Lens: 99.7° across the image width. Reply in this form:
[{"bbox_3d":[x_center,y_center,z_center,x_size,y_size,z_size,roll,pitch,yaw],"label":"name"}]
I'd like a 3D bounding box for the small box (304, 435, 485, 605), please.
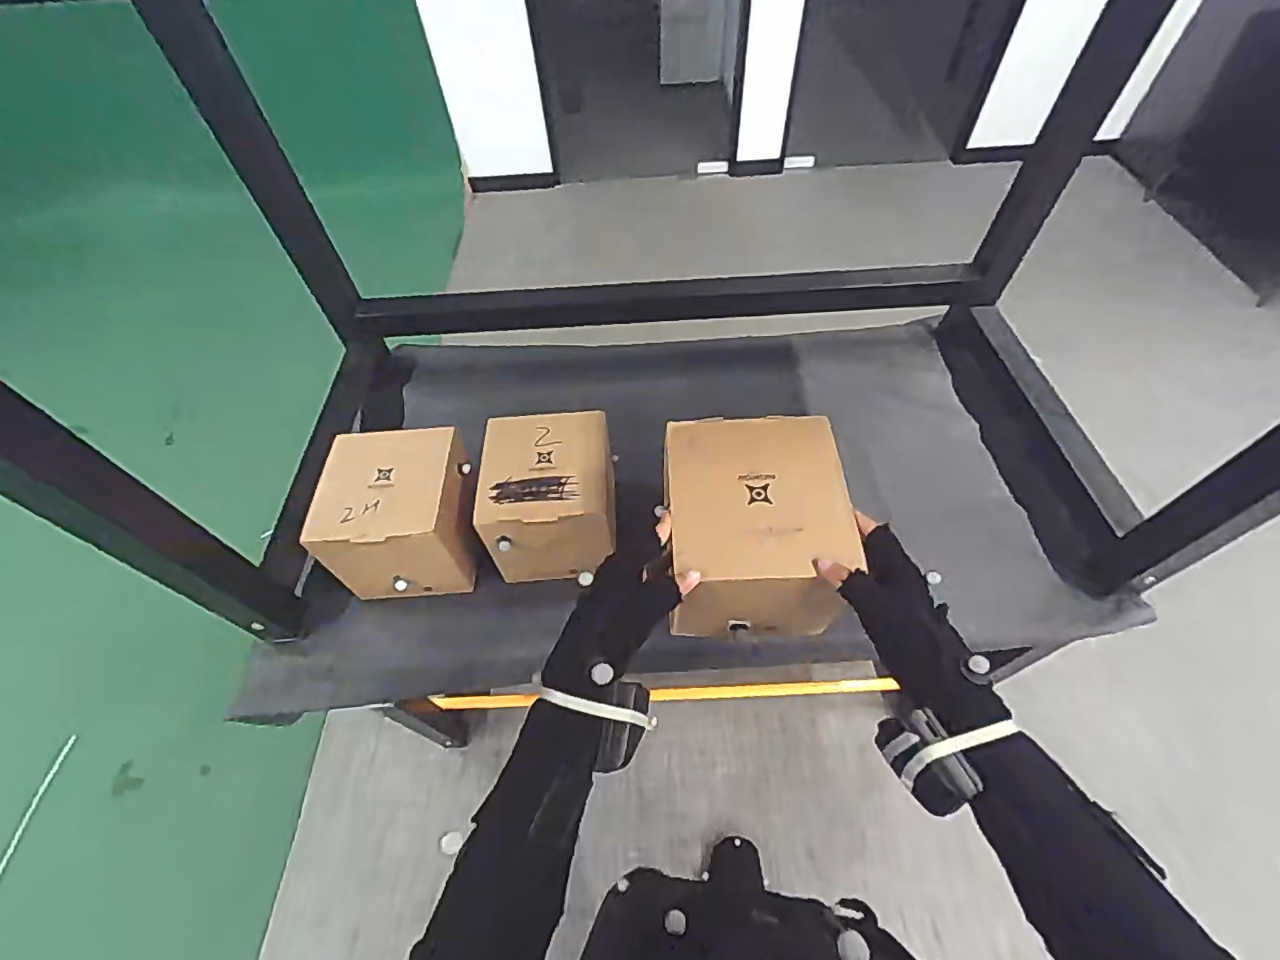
[{"bbox_3d":[-0.326,0.059,0.764,0.168,0.176,0.179,-4,53,0],"label":"small box"}]

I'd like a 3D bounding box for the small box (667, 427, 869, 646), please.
[{"bbox_3d":[0.114,0.064,0.572,0.168,0.176,0.179,-2,57,1],"label":"small box"}]
